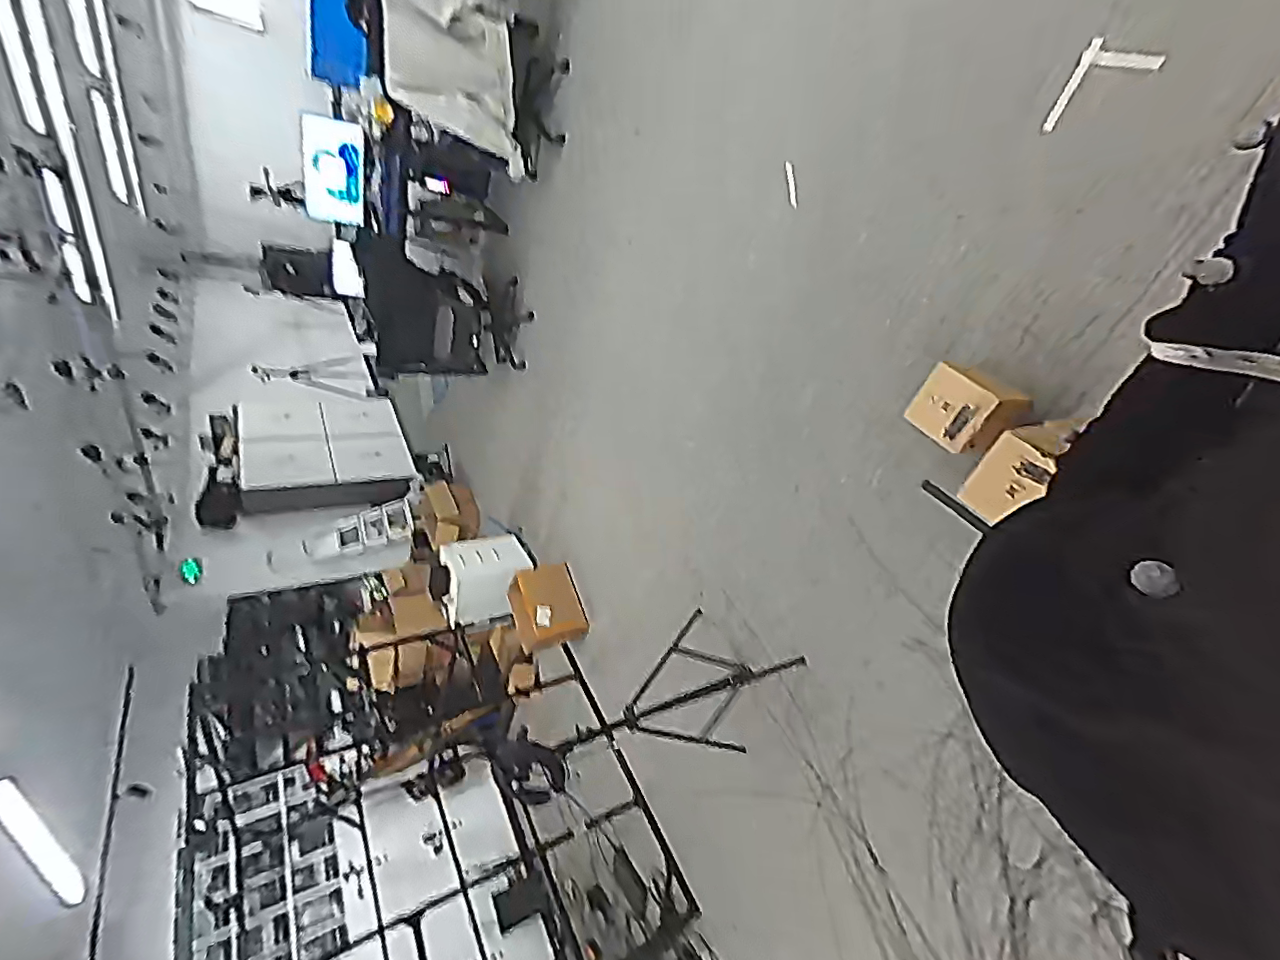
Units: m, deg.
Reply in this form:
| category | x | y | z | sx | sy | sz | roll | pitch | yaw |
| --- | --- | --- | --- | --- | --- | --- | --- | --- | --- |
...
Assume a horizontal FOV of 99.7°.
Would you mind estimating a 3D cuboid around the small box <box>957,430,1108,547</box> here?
| category | x | y | z | sx | sy | sz | roll | pitch | yaw |
| --- | --- | --- | --- | --- | --- | --- | --- | --- | --- |
| small box | 0.813 | 0.009 | 1.118 | 0.168 | 0.176 | 0.179 | 51 | 136 | 39 |

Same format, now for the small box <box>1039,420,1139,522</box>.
| category | x | y | z | sx | sy | sz | roll | pitch | yaw |
| --- | --- | --- | --- | --- | --- | --- | --- | --- | --- |
| small box | 0.951 | -0.017 | 1.206 | 0.168 | 0.176 | 0.179 | 53 | 136 | 36 |
